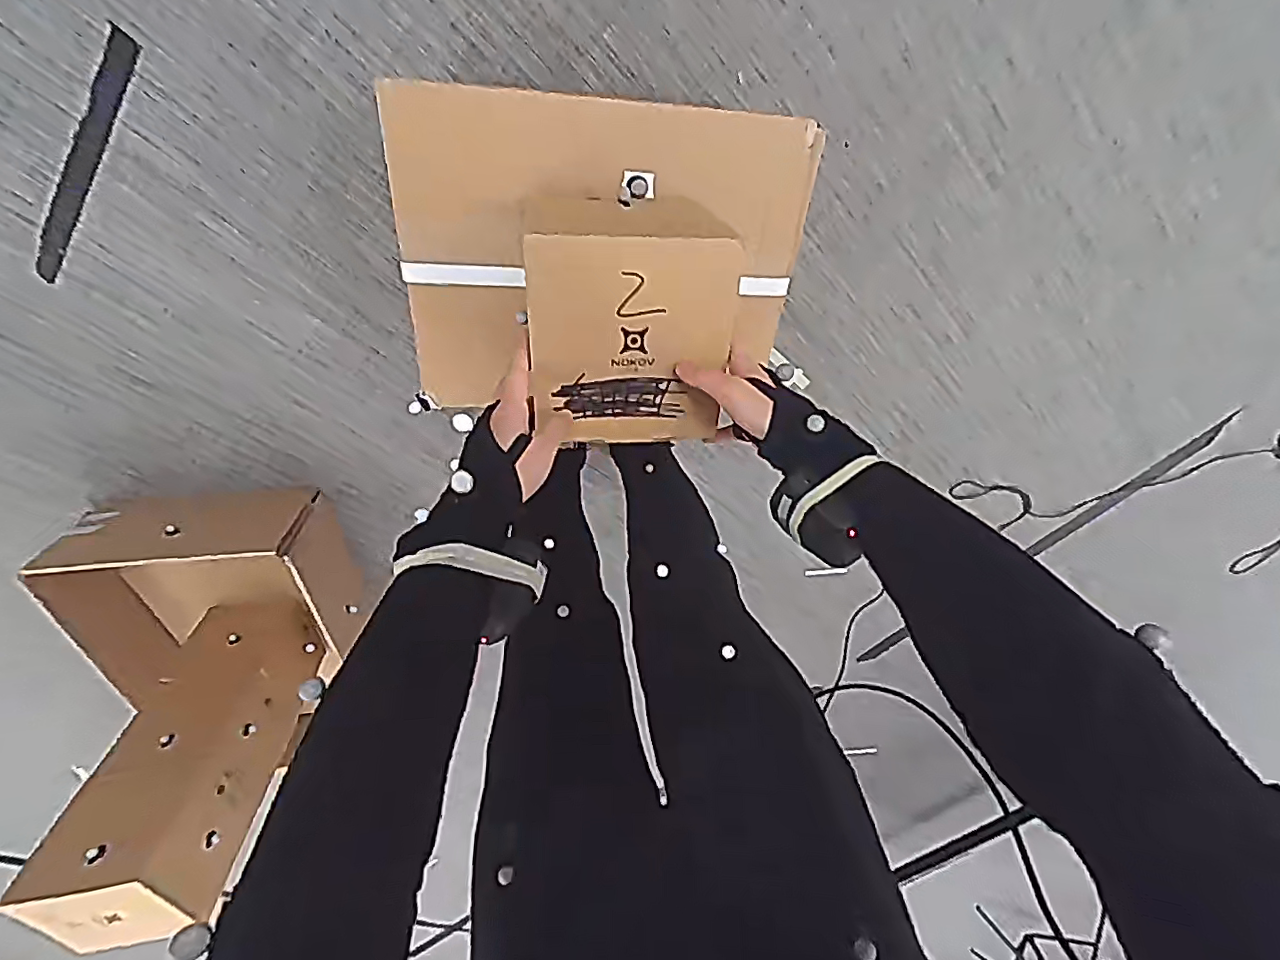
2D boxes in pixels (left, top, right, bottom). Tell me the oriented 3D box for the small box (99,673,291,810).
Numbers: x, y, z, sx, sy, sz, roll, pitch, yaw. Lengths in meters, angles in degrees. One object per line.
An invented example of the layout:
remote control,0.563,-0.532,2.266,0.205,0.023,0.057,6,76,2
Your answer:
small box,-0.743,0.456,0.936,0.179,0.176,0.168,-8,124,-2

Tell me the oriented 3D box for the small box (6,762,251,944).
small box,-0.720,0.541,0.797,0.179,0.176,0.168,-7,124,-2

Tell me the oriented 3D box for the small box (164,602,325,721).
small box,-0.761,0.361,1.066,0.179,0.176,0.168,-5,125,-6
